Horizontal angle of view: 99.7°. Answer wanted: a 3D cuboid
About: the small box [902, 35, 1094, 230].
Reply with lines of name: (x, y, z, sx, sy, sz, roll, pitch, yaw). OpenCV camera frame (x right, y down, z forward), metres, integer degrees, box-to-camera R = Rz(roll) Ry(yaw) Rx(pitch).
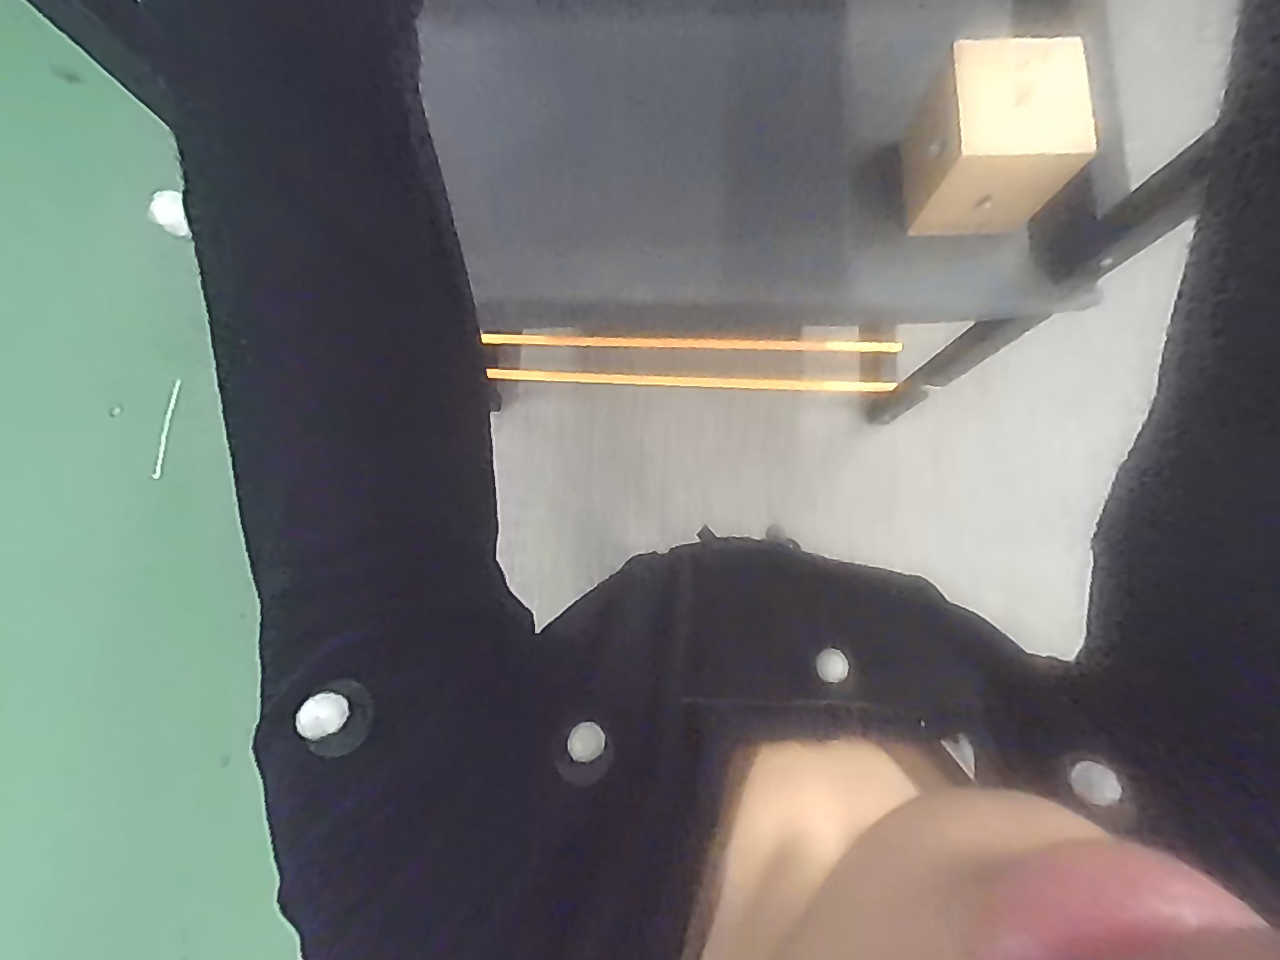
small box: (0.494, -0.481, 0.773, 0.168, 0.176, 0.179, 1, 79, 3)
